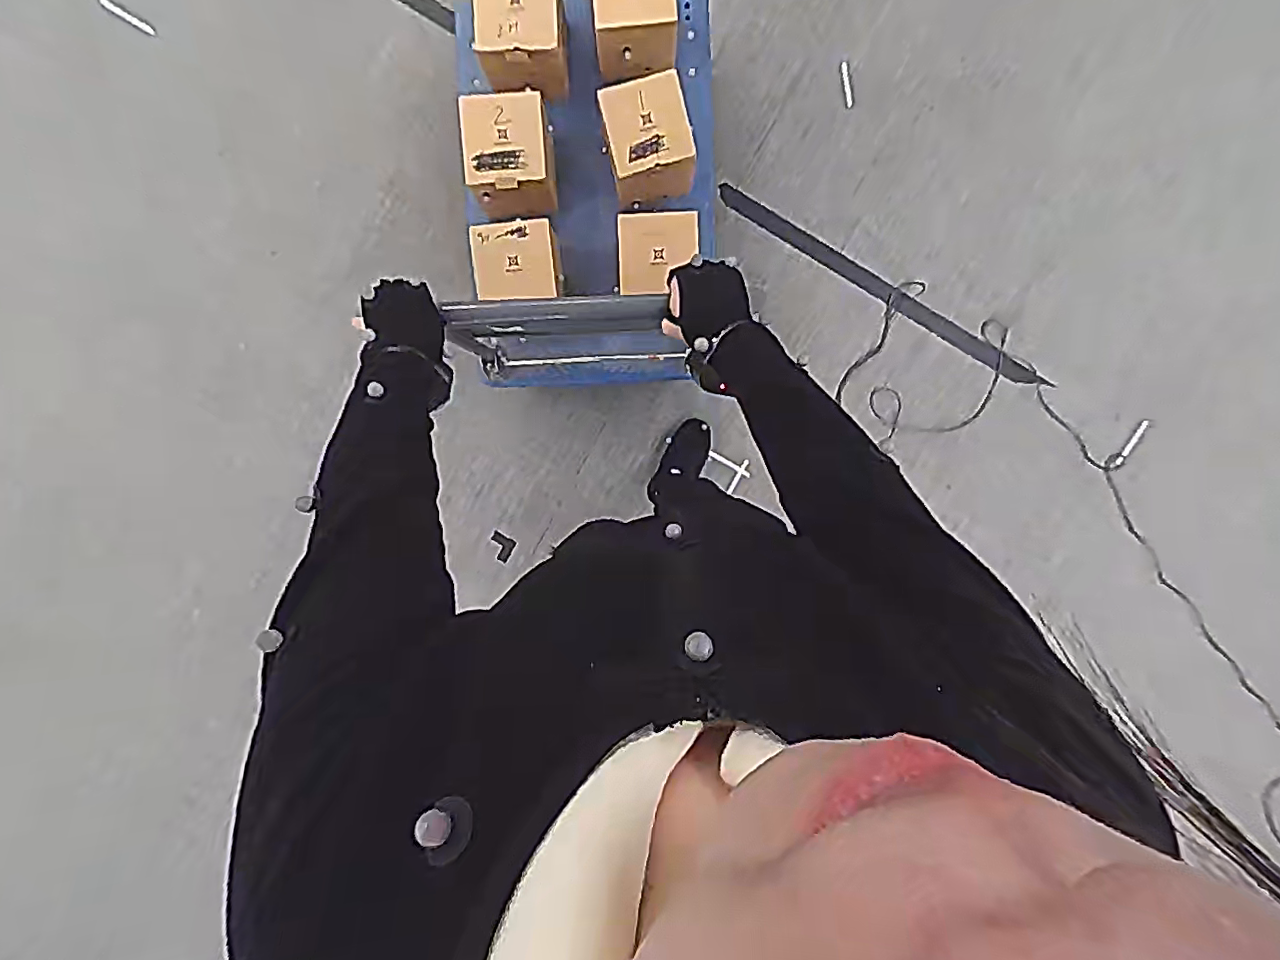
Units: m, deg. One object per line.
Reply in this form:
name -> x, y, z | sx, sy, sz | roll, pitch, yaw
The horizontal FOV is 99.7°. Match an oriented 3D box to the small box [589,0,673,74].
small box -> -0.020, -0.997, 1.140 | 0.168, 0.176, 0.179 | -6, 95, 1

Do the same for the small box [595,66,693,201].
small box -> 0.010, -0.727, 1.163 | 0.168, 0.176, 0.179 | -15, 94, 1

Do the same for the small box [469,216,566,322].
small box -> -0.261, -0.451, 1.186 | 0.168, 0.176, 0.179 | -6, 95, -1

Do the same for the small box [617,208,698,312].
small box -> 0.037, -0.472, 1.186 | 0.168, 0.176, 0.179 | -2, 94, -1

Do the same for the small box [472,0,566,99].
small box -> -0.250, -0.949, 1.143 | 0.168, 0.176, 0.179 | -1, 96, 0
